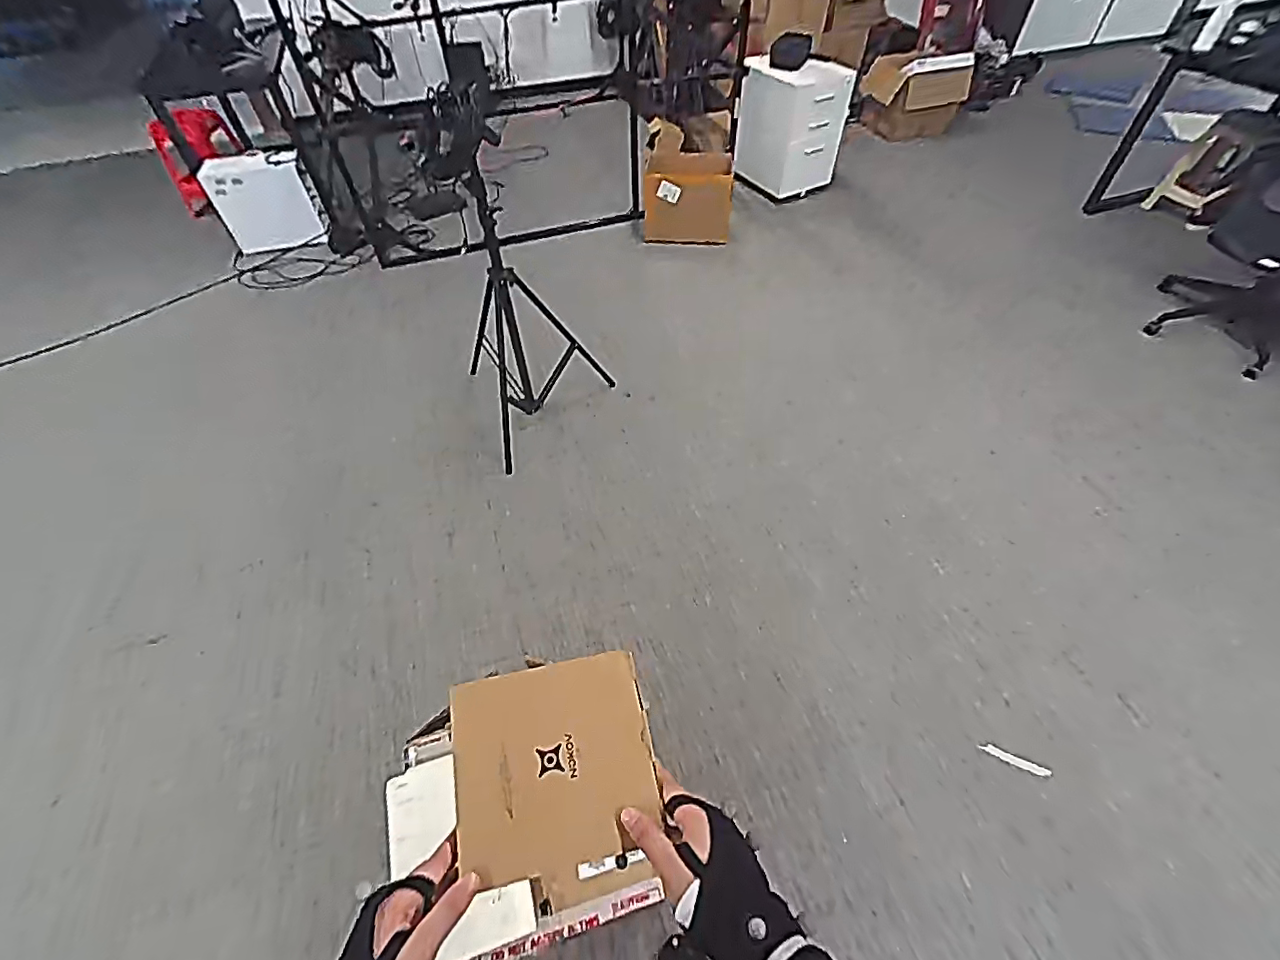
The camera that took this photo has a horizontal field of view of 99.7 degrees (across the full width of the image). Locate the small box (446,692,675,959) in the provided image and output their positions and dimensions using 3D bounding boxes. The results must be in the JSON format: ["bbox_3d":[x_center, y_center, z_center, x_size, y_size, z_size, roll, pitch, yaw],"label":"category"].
[{"bbox_3d":[-0.078,0.323,0.528,0.179,0.176,0.168,-11,59,-9],"label":"small box"}]
